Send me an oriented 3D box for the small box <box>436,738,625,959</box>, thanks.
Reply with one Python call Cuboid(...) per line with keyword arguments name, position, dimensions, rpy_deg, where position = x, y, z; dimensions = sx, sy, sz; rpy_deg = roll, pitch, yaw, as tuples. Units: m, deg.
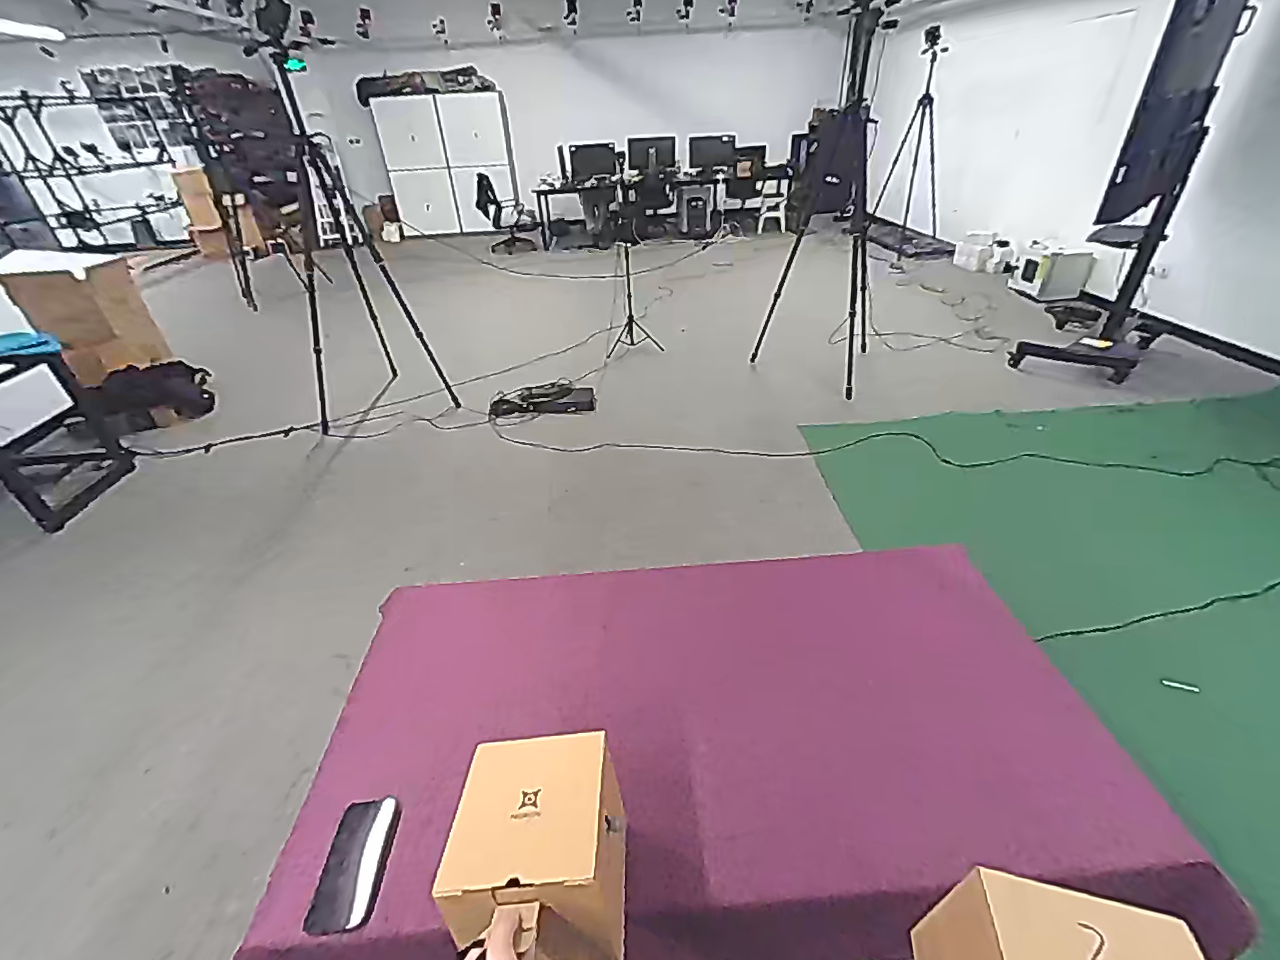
Cuboid(name="small box", position=(-0.111, 0.439, 0.634), dimensions=(0.168, 0.176, 0.179), rpy_deg=(-7, 24, 3))
